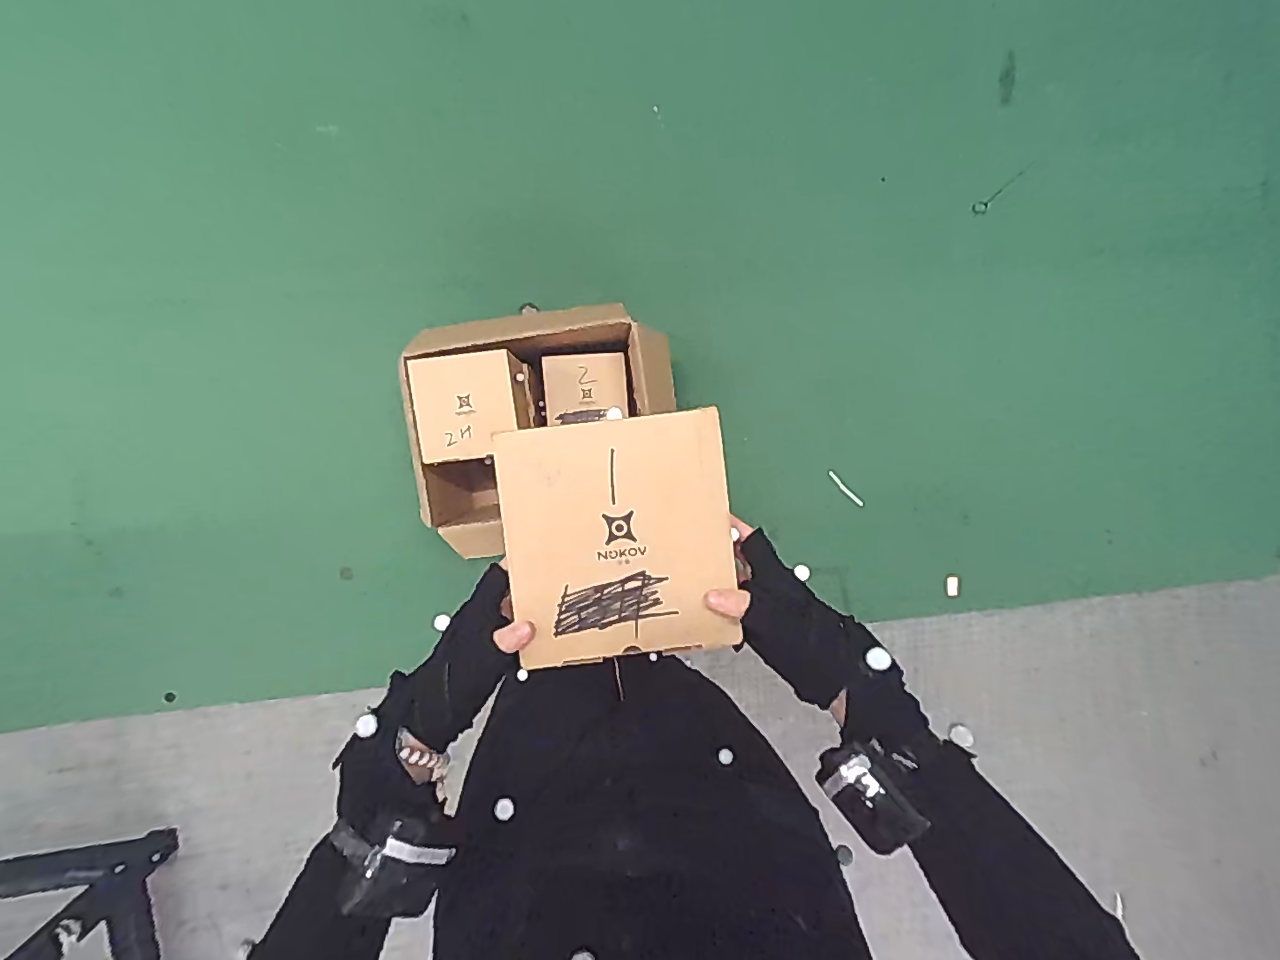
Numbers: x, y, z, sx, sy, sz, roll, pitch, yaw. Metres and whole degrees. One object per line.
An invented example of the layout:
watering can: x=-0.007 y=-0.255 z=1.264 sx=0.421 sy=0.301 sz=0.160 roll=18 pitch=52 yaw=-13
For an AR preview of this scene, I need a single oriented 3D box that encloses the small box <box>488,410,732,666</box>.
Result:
small box: x=-0.021 y=0.039 z=0.471 sx=0.168 sy=0.176 sz=0.179 roll=-7 pitch=92 yaw=-1
